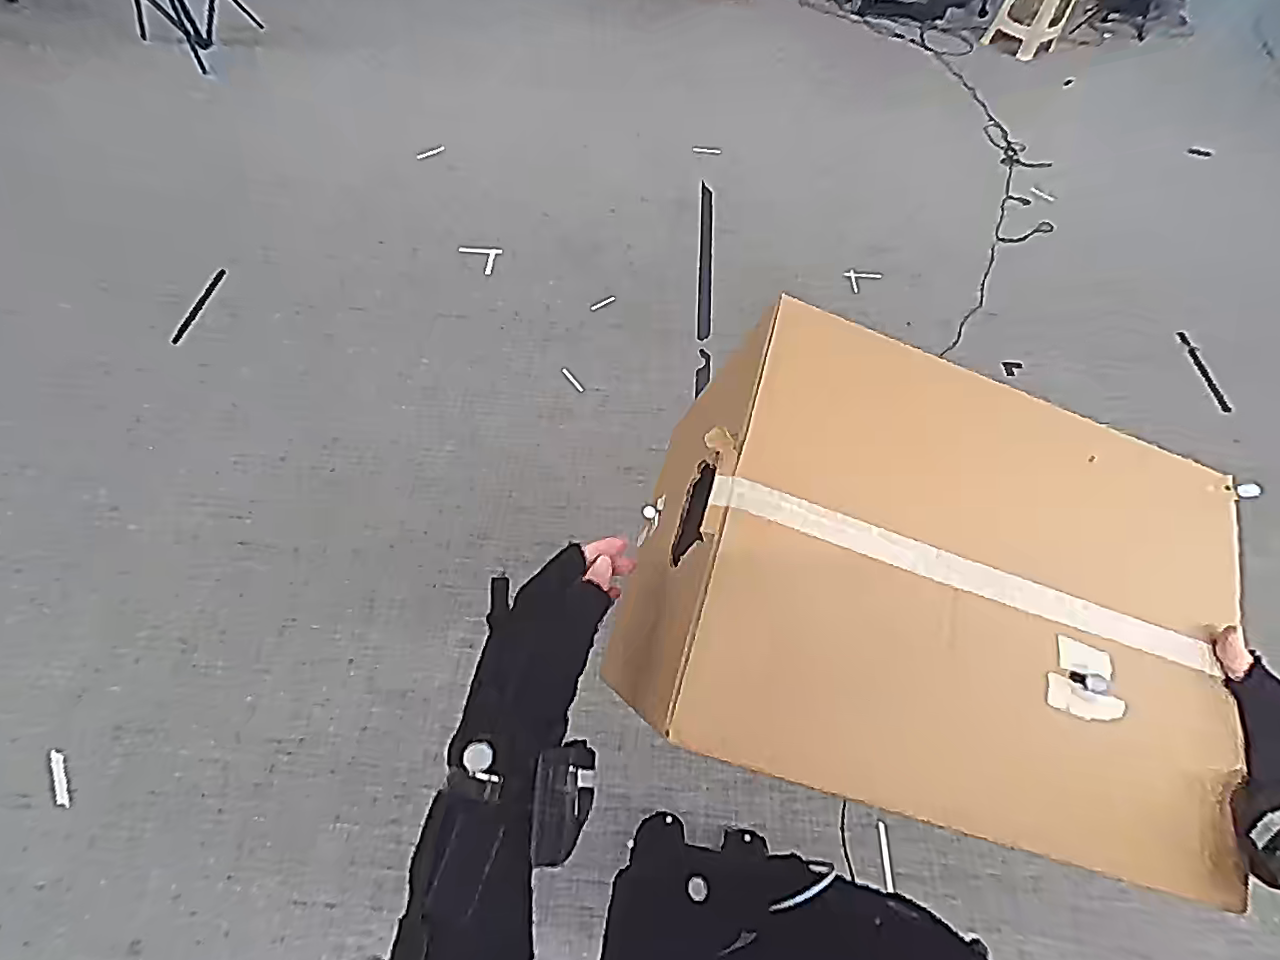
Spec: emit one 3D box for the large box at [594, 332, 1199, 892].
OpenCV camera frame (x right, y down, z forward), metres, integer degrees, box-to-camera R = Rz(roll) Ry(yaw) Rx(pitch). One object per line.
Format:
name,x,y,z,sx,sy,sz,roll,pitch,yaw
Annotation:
large box,0.199,0.119,0.529,0.408,0.320,0.320,18,74,-7
